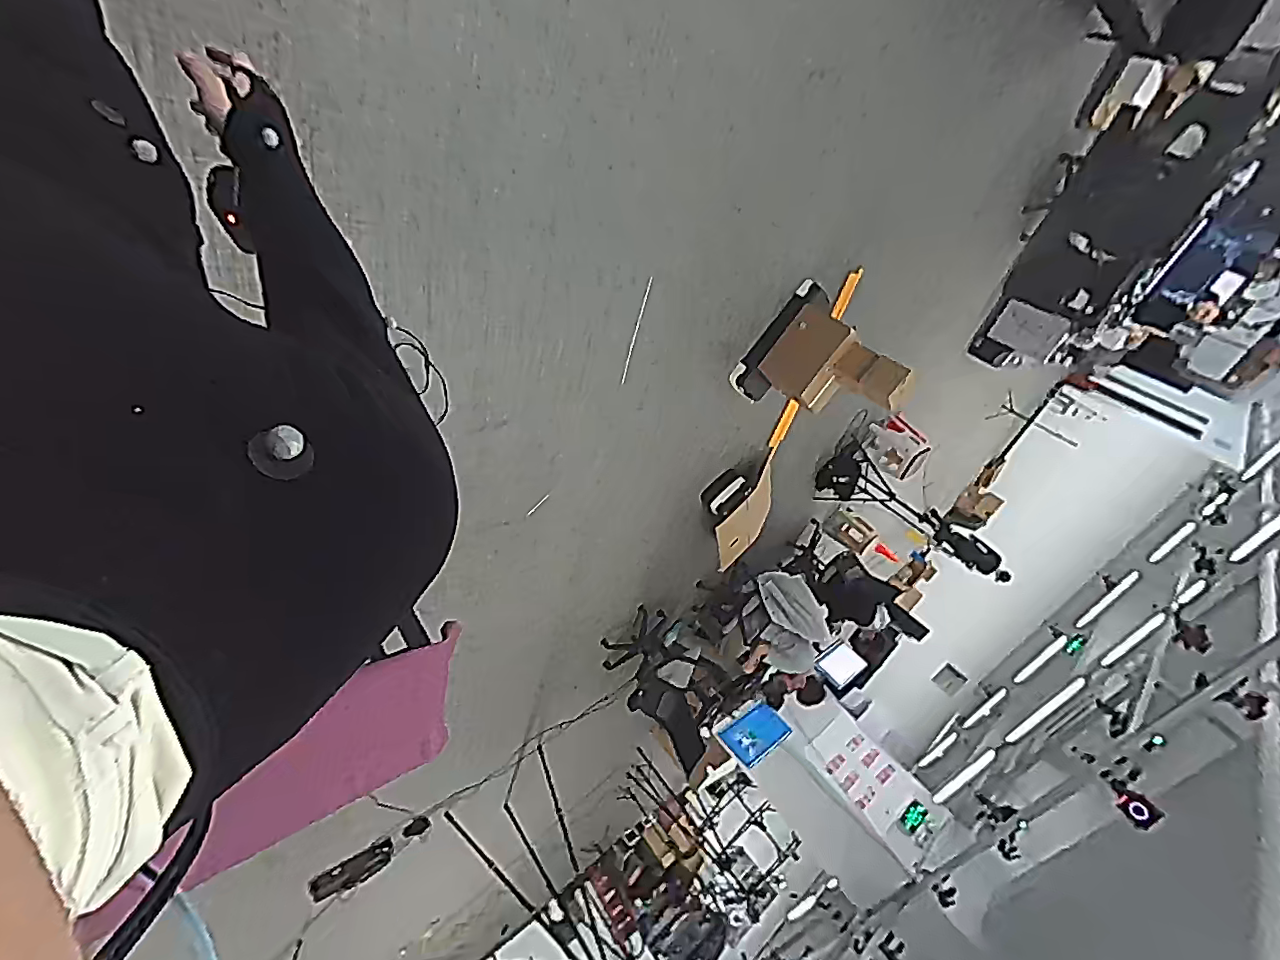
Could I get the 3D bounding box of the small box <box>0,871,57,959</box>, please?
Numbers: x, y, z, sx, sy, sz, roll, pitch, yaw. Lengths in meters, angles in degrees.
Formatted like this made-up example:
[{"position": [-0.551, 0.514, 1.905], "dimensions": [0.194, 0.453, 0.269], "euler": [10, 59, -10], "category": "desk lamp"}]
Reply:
[{"position": [-1.232, 0.856, 0.982], "dimensions": [0.179, 0.176, 0.168], "euler": [-39, 149, -14], "category": "small box"}]
